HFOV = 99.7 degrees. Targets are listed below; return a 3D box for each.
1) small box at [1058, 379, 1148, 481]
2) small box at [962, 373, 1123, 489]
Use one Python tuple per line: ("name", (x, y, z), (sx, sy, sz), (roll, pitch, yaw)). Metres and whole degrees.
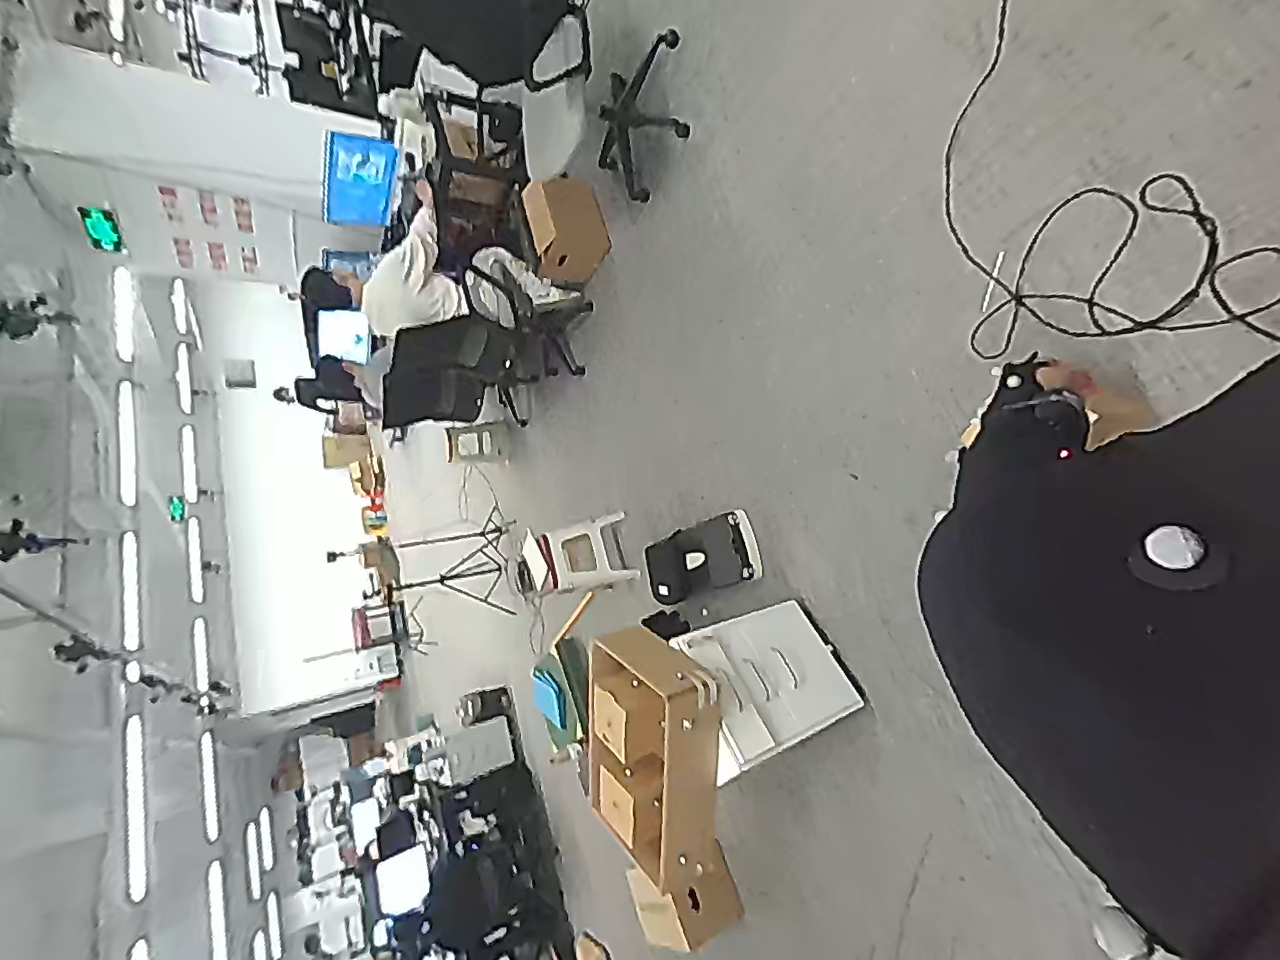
("small box", (0.948, -0.118, 1.184), (0.179, 0.176, 0.168), (44, 131, 43))
("small box", (0.811, -0.105, 1.092), (0.179, 0.176, 0.168), (50, 134, 40))
